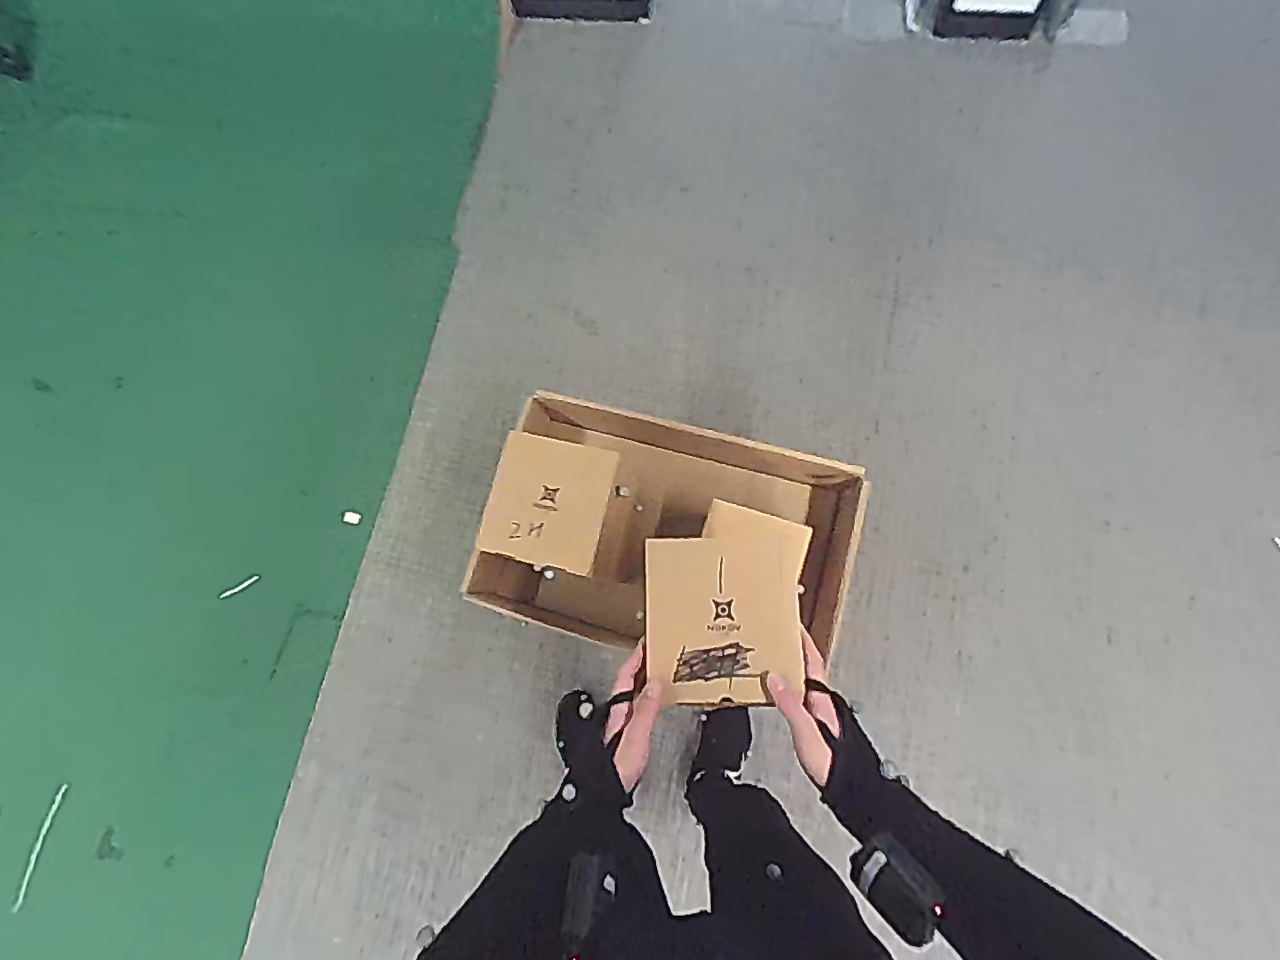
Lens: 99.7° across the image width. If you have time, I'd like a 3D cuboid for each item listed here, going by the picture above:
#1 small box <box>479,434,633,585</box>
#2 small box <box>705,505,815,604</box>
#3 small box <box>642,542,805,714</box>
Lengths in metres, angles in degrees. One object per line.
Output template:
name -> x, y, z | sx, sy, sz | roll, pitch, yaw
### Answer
small box -> -0.112, 0.052, 0.815 | 0.168, 0.176, 0.179 | 13, 78, 10
small box -> 0.182, 0.162, 0.927 | 0.168, 0.176, 0.179 | 17, 80, 10
small box -> 0.090, 0.175, 0.644 | 0.168, 0.176, 0.179 | -1, 72, 2
